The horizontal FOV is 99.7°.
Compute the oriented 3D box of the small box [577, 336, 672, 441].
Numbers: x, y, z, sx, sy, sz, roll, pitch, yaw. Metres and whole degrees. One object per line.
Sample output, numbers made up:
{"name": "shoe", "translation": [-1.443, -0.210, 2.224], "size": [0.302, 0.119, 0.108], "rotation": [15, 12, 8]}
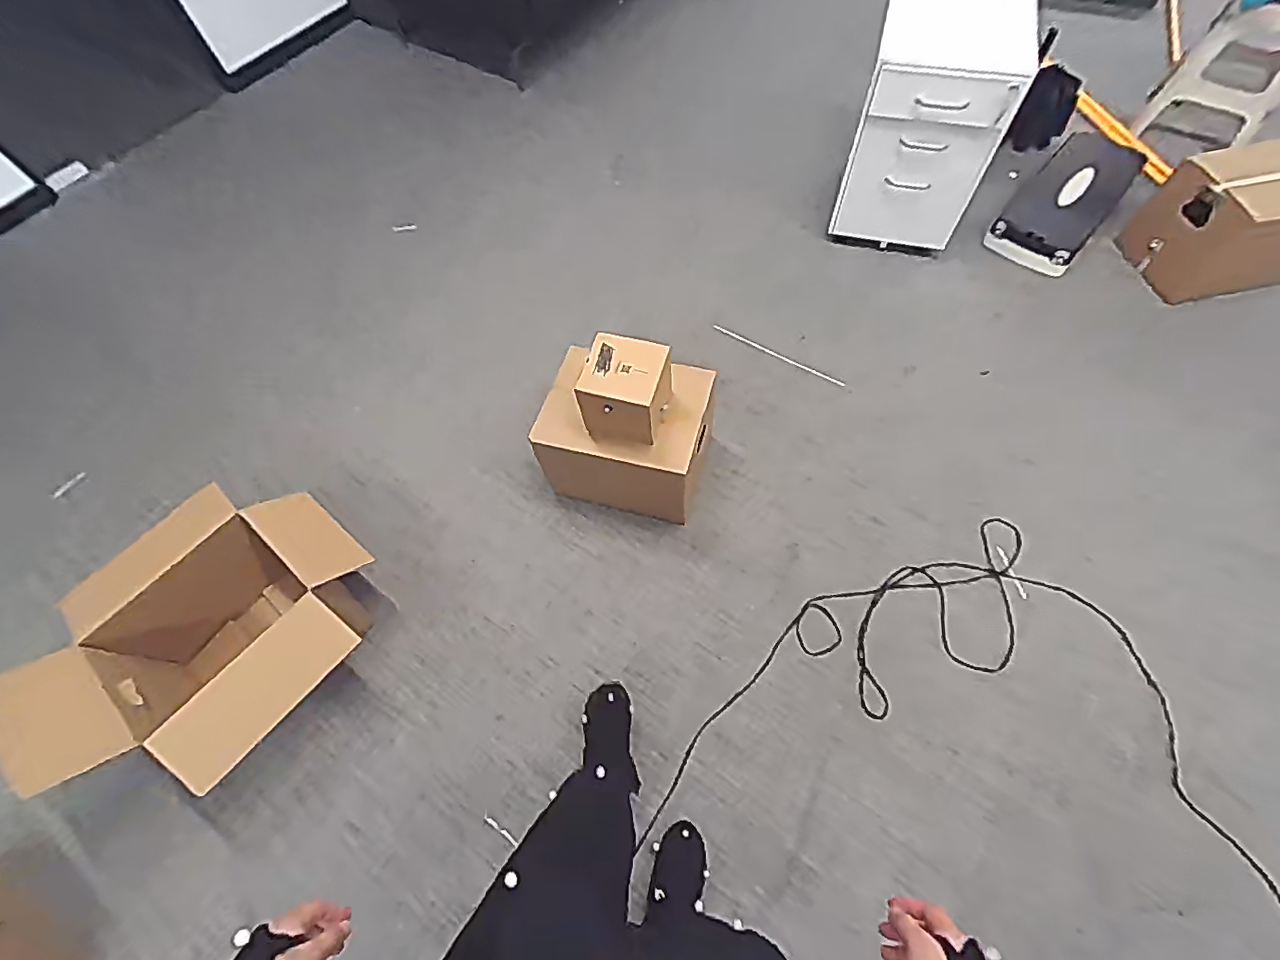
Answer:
{"name": "small box", "translation": [-0.028, -0.210, 1.275], "size": [0.179, 0.176, 0.168], "rotation": [14, 67, 11]}
